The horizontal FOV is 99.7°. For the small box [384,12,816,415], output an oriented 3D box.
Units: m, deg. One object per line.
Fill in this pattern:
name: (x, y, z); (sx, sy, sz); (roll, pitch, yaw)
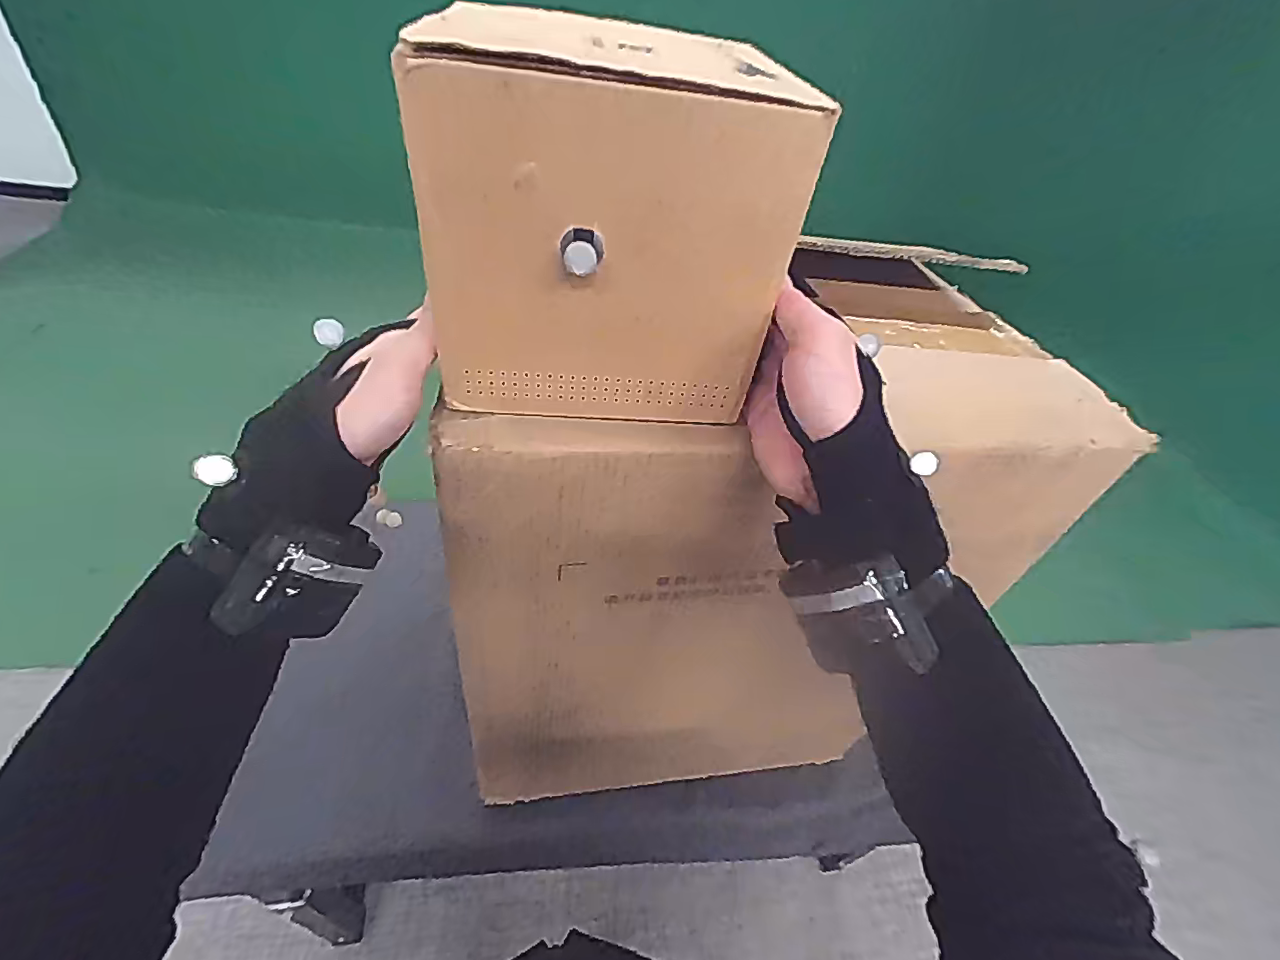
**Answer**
small box: (-0.025, -0.153, 0.324); (0.179, 0.176, 0.168); (1, 46, -8)
